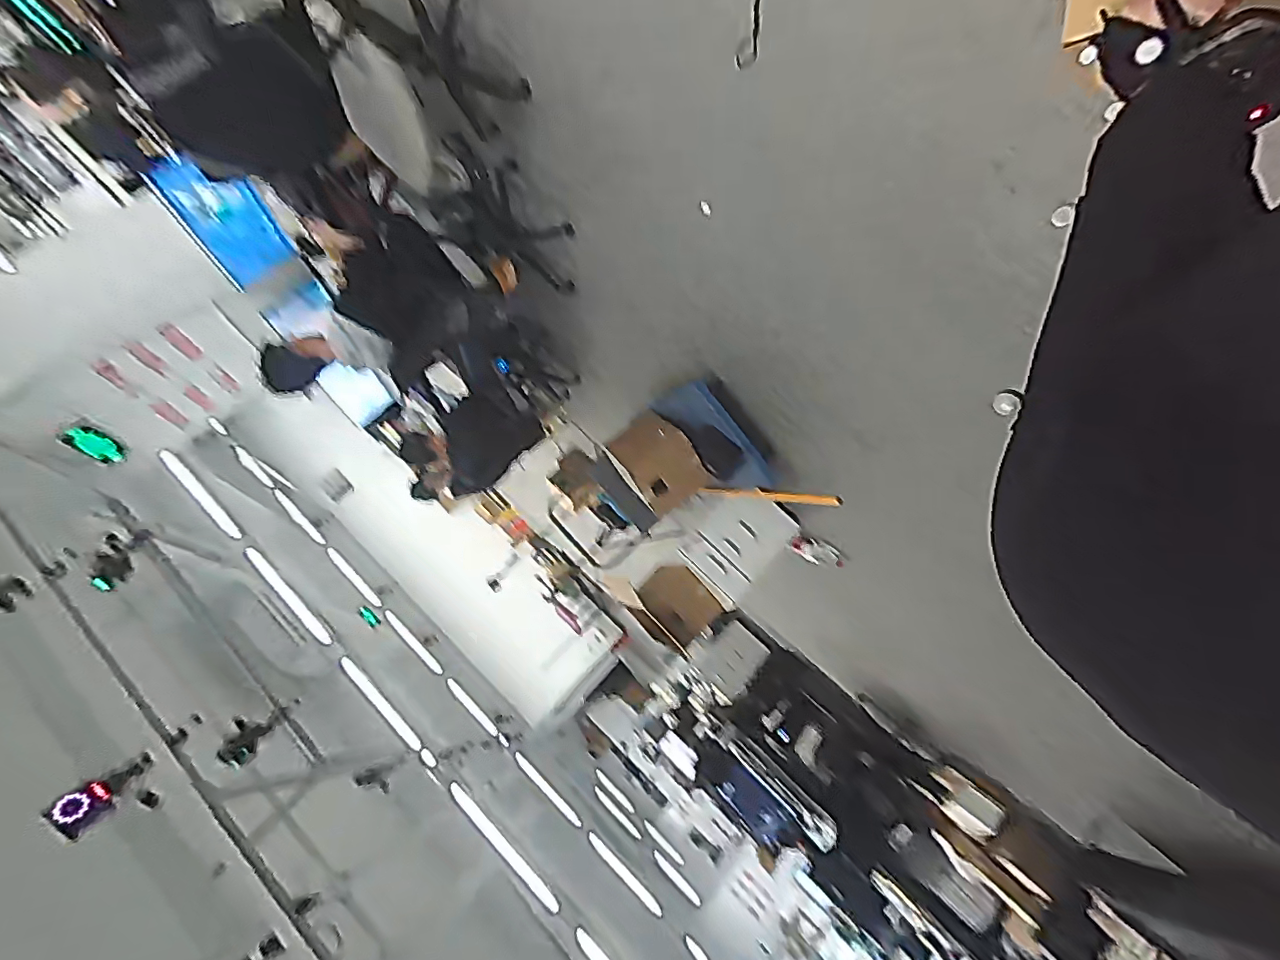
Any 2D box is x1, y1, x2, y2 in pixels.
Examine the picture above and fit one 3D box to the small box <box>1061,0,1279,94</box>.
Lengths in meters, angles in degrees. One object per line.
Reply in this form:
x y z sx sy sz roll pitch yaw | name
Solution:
0.492 -0.489 0.485 0.168 0.179 0.176 8 112 39 | small box
